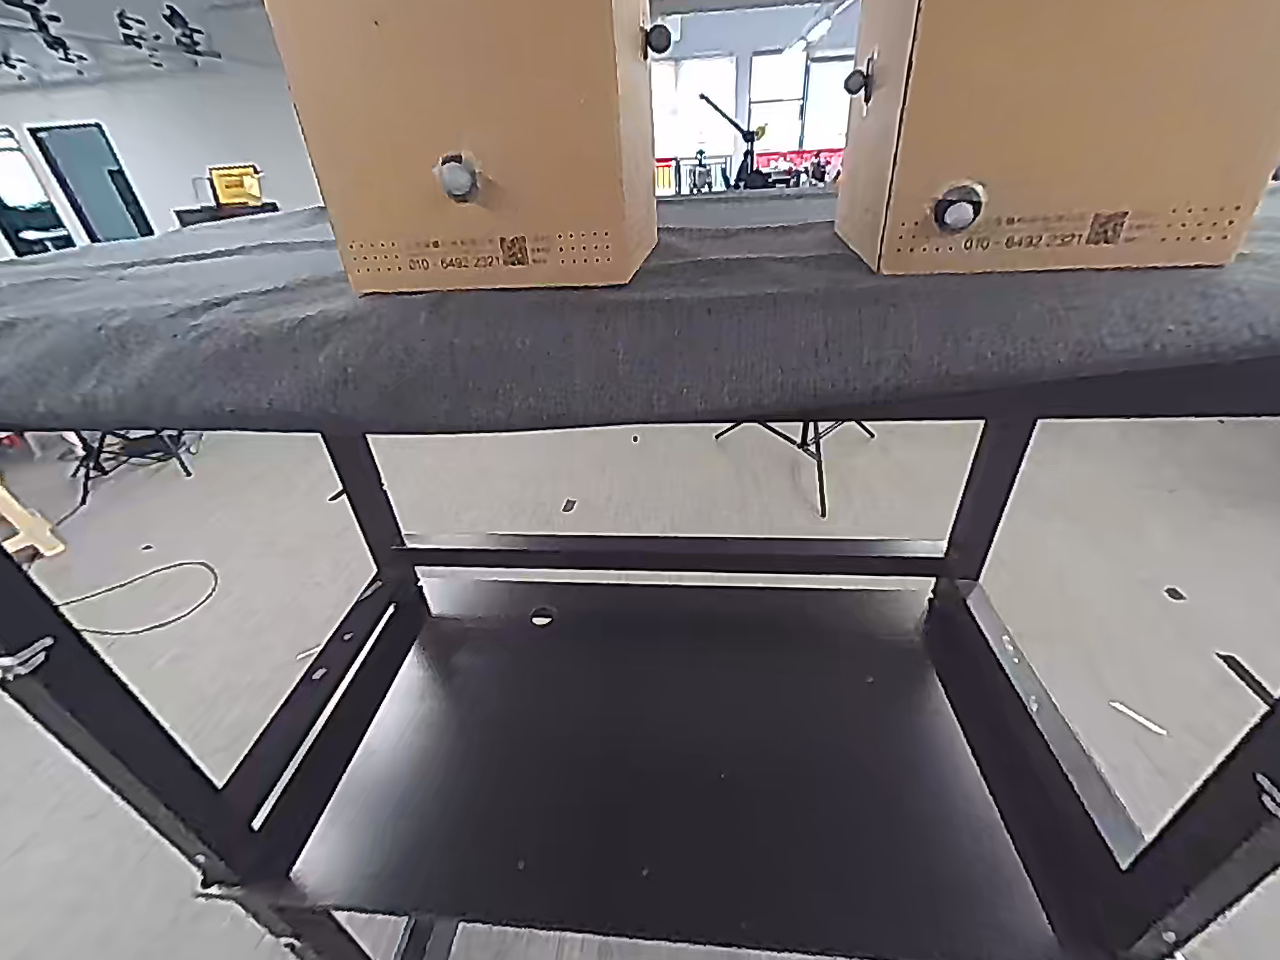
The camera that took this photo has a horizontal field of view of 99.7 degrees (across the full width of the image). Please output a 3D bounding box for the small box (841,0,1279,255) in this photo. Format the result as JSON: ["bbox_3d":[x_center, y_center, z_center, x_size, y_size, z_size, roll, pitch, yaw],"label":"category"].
[{"bbox_3d":[0.219,-0.227,0.308,0.168,0.176,0.179,2,31,10],"label":"small box"}]

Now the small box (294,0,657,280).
[{"bbox_3d":[-0.079,-0.227,0.337,0.168,0.176,0.179,0,30,8],"label":"small box"}]
